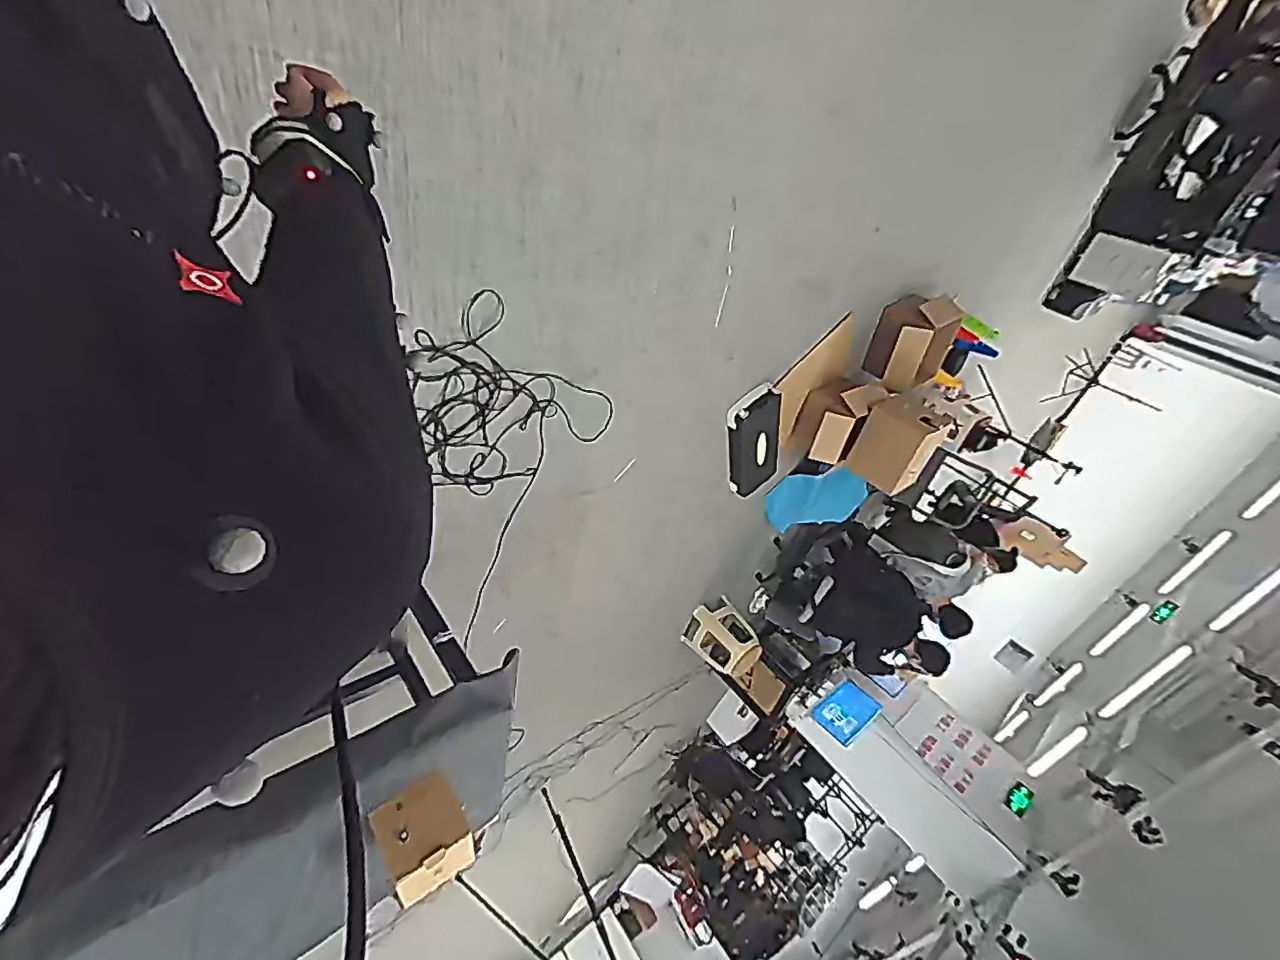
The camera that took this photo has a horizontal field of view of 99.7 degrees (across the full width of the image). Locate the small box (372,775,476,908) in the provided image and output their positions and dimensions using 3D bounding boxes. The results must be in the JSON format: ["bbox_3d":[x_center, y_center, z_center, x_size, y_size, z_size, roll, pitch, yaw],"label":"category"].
[{"bbox_3d":[-0.489,0.809,1.228,0.168,0.176,0.179,-21,139,-33],"label":"small box"}]
